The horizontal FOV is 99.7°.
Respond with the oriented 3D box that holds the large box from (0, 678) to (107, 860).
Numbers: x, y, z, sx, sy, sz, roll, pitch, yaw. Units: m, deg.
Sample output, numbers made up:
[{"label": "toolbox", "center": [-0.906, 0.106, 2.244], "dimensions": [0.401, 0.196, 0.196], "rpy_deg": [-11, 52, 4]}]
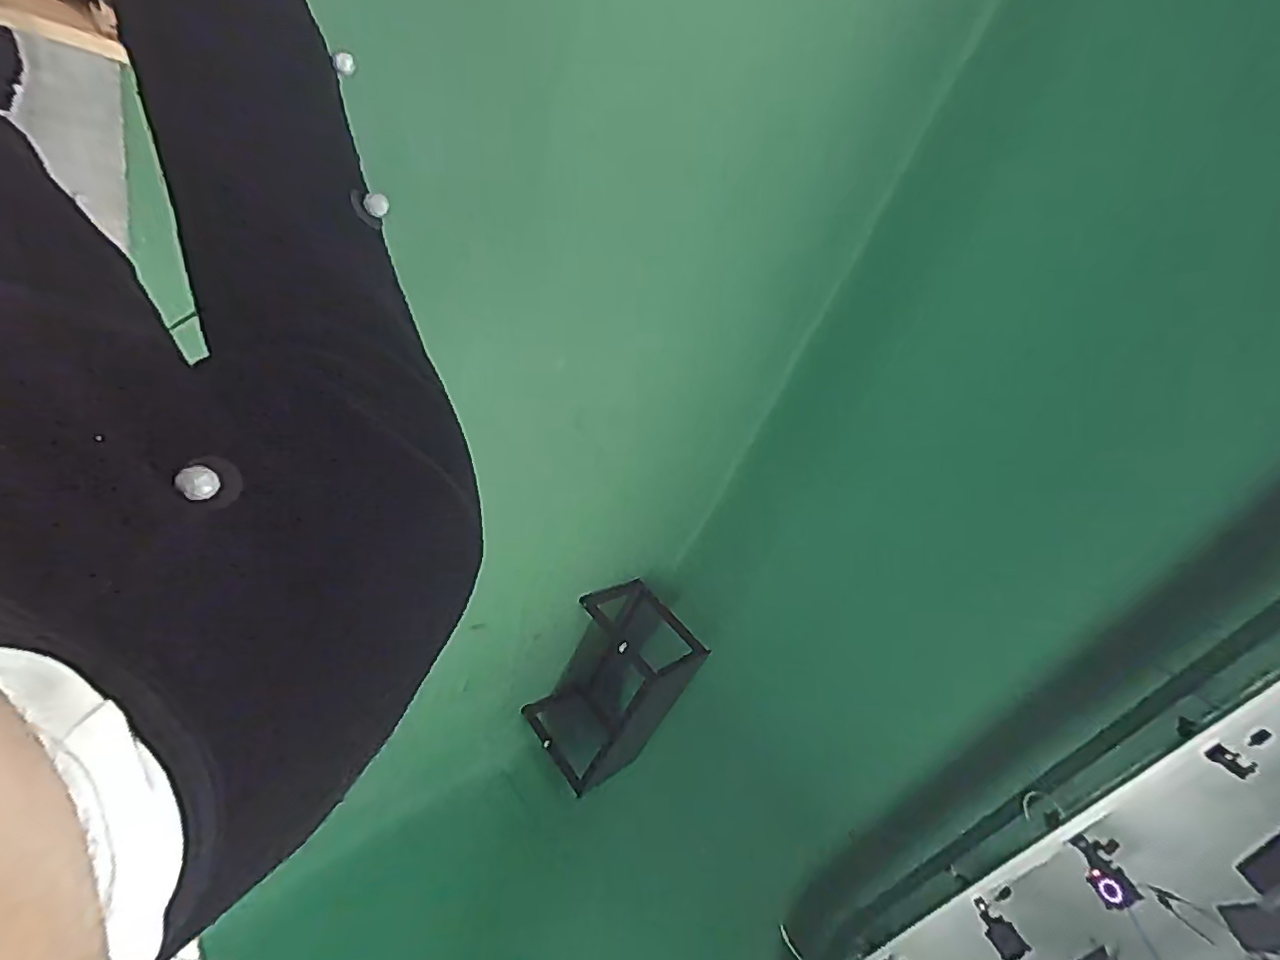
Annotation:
[{"label": "large box", "center": [-1.800, 0.823, 1.452], "dimensions": [0.408, 0.320, 0.320], "rpy_deg": [-35, 149, -23]}]
